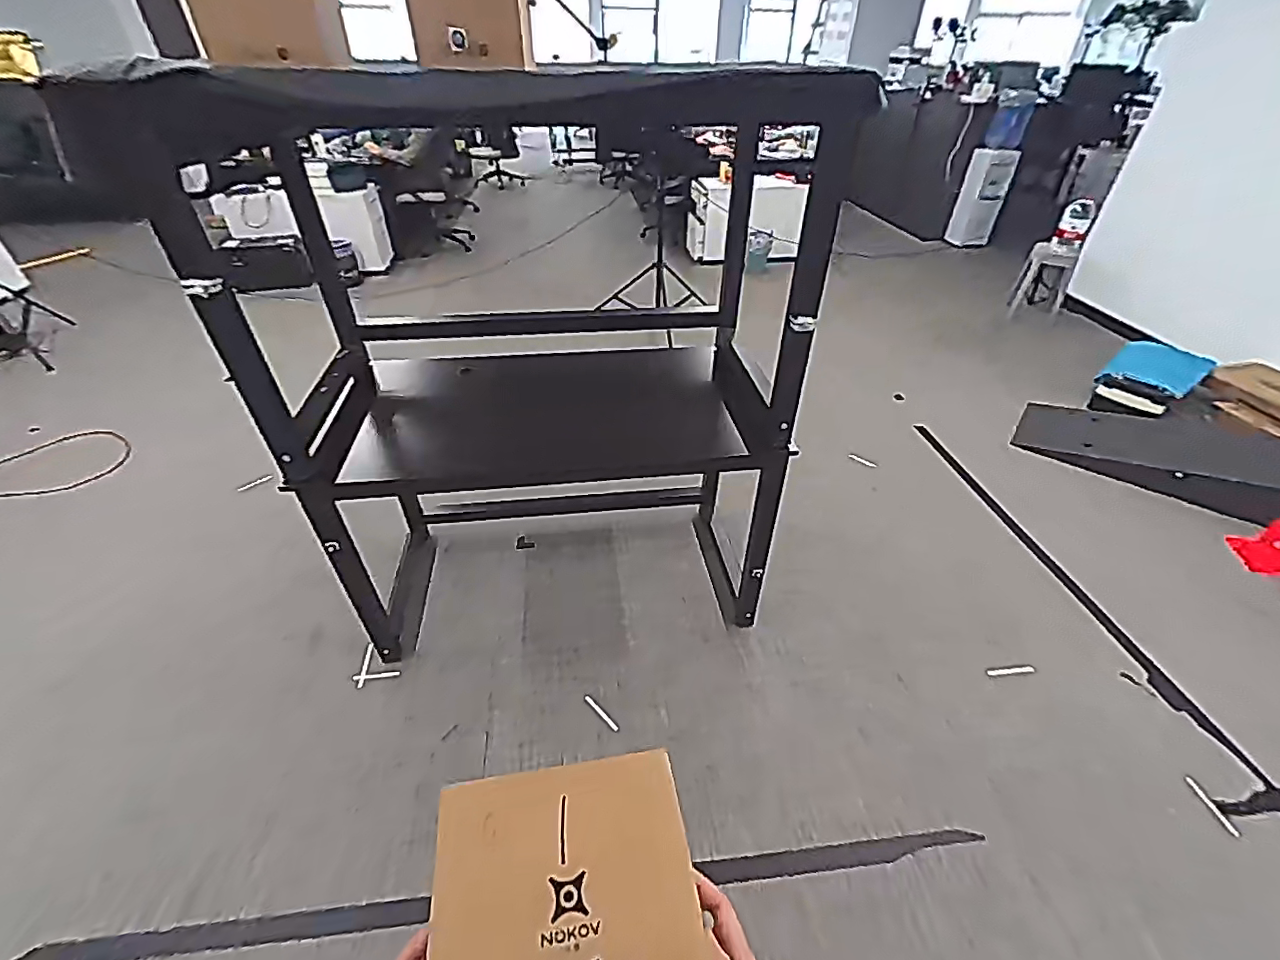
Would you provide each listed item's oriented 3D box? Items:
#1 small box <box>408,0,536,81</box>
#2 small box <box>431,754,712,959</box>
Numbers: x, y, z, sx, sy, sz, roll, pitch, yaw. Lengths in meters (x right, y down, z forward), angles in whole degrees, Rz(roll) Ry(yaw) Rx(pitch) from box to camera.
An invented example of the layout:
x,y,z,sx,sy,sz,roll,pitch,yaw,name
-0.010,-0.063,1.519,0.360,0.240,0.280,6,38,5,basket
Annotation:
x,y,z,sx,sy,sz,roll,pitch,yaw,name
-0.257,-0.727,0.836,0.168,0.176,0.179,-3,38,-3,small box
-0.046,0.326,0.382,0.168,0.176,0.179,-4,41,-9,small box
